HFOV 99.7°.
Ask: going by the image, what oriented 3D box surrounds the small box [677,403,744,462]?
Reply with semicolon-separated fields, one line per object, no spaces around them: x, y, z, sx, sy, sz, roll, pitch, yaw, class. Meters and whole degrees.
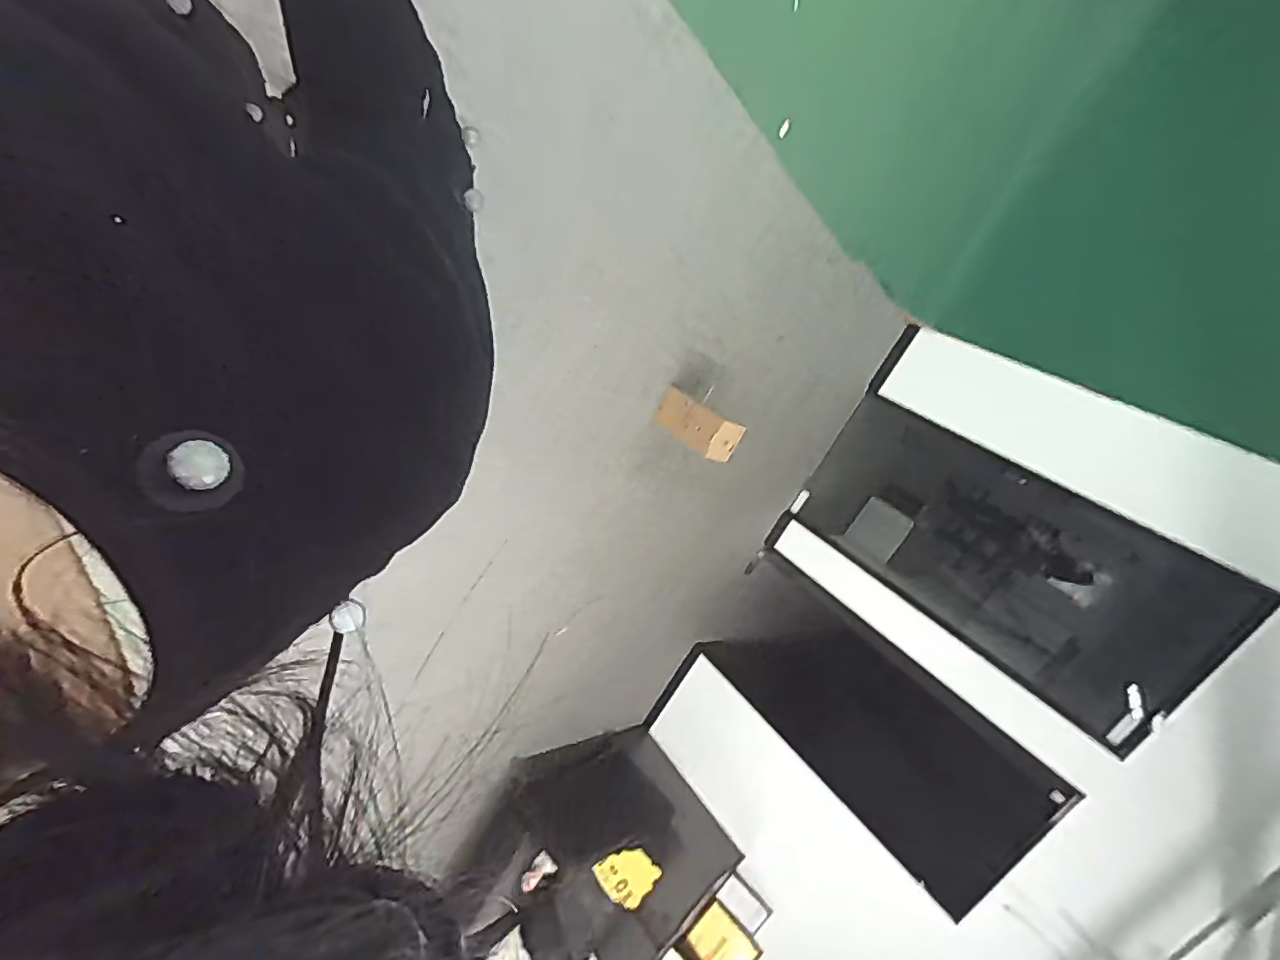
0.284;-0.196;2.203;0.179;0.176;0.168;10;115;-49;small box
